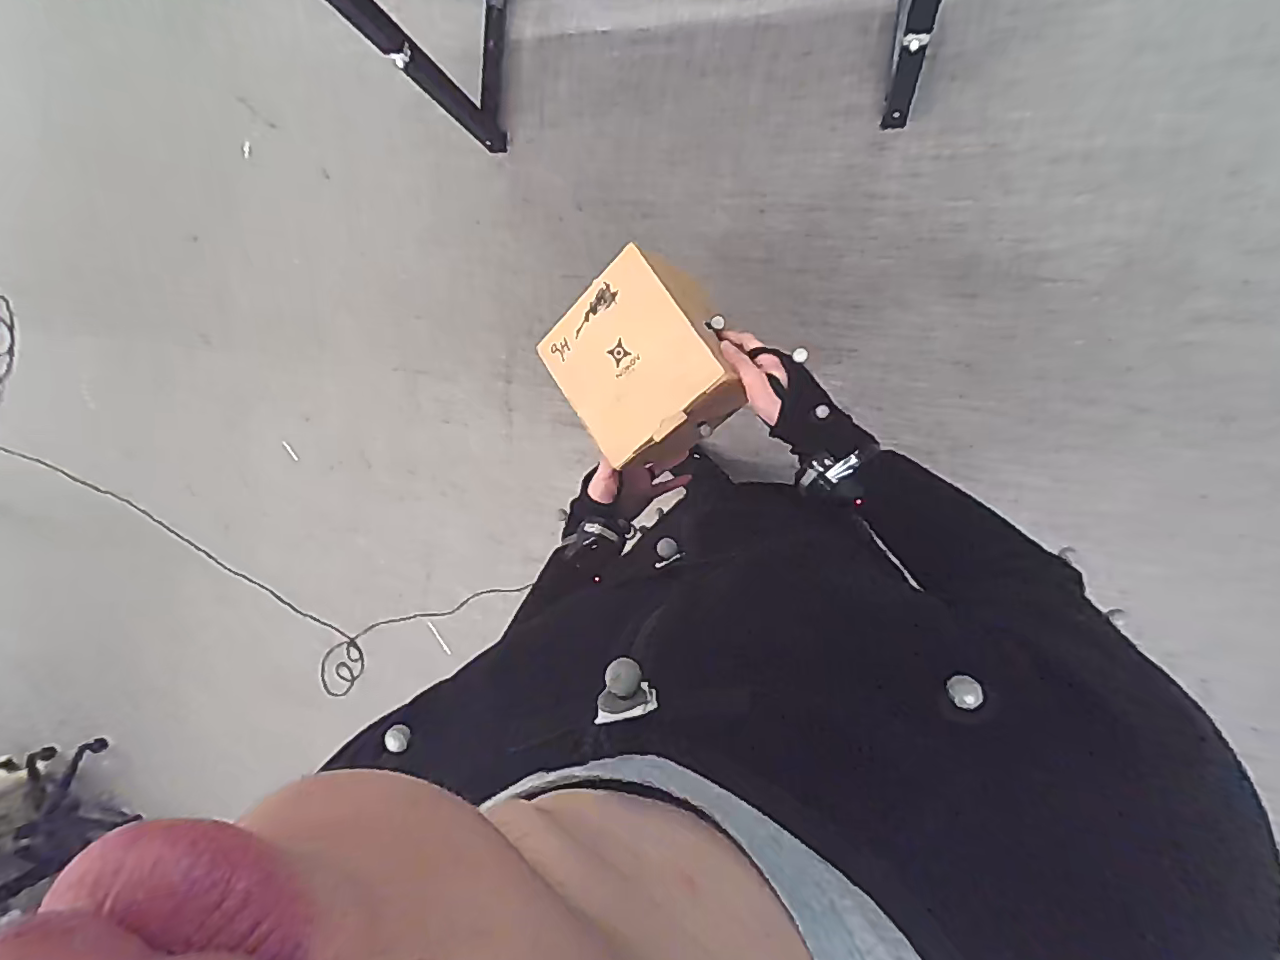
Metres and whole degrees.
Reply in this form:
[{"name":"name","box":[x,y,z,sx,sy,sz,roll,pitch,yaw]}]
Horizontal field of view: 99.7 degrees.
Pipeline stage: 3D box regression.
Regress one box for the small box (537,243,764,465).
[{"name":"small box","box":[0.021,-0.142,0.640,0.168,0.176,0.179,-38,79,28]}]
